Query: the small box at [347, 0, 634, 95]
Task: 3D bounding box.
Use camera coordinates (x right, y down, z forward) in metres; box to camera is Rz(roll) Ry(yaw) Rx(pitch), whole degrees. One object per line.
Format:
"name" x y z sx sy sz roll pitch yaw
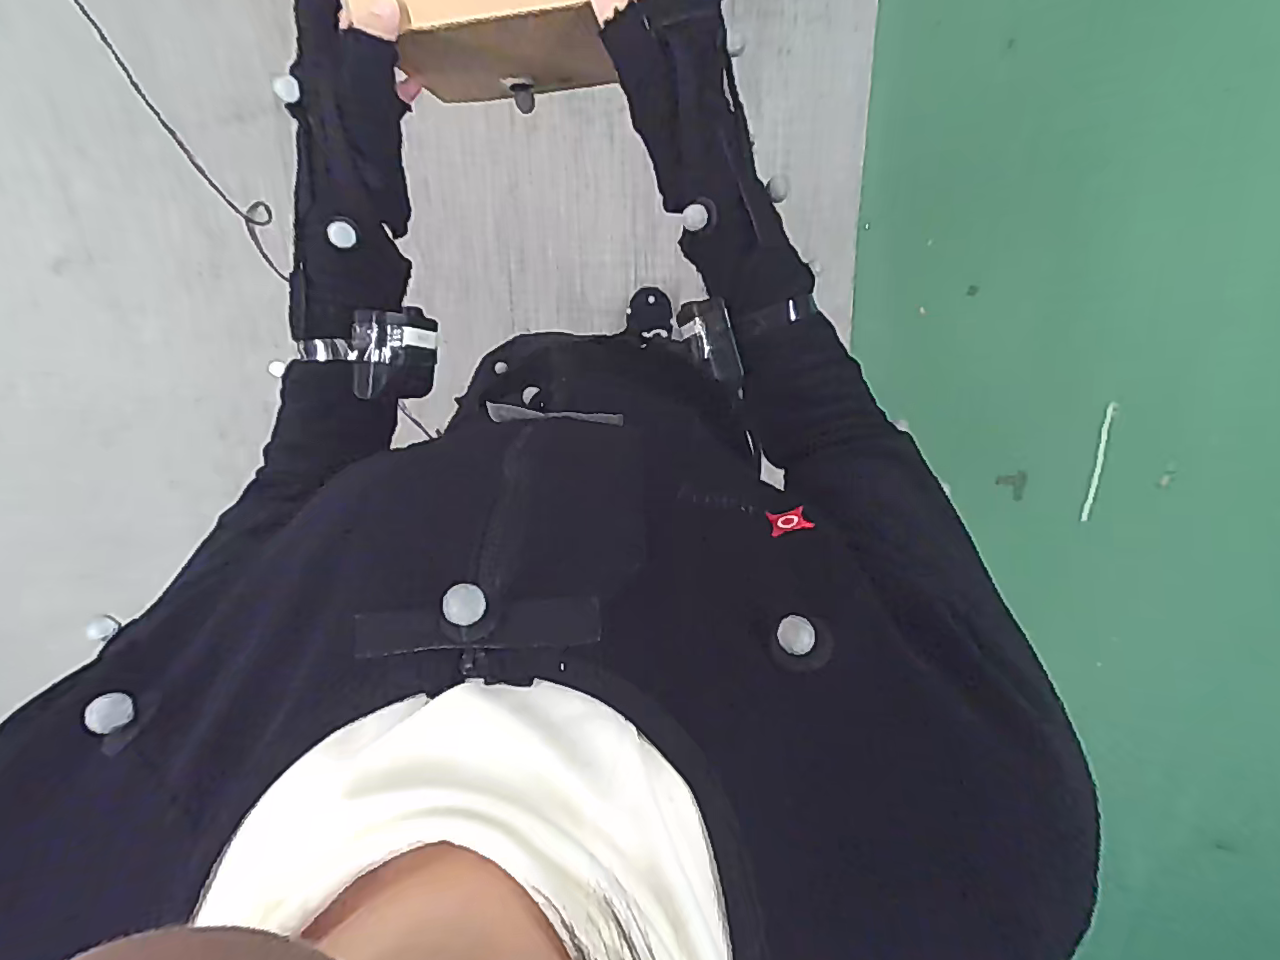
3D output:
"small box" -0.094 -0.382 0.348 0.168 0.176 0.179 -6 113 3
